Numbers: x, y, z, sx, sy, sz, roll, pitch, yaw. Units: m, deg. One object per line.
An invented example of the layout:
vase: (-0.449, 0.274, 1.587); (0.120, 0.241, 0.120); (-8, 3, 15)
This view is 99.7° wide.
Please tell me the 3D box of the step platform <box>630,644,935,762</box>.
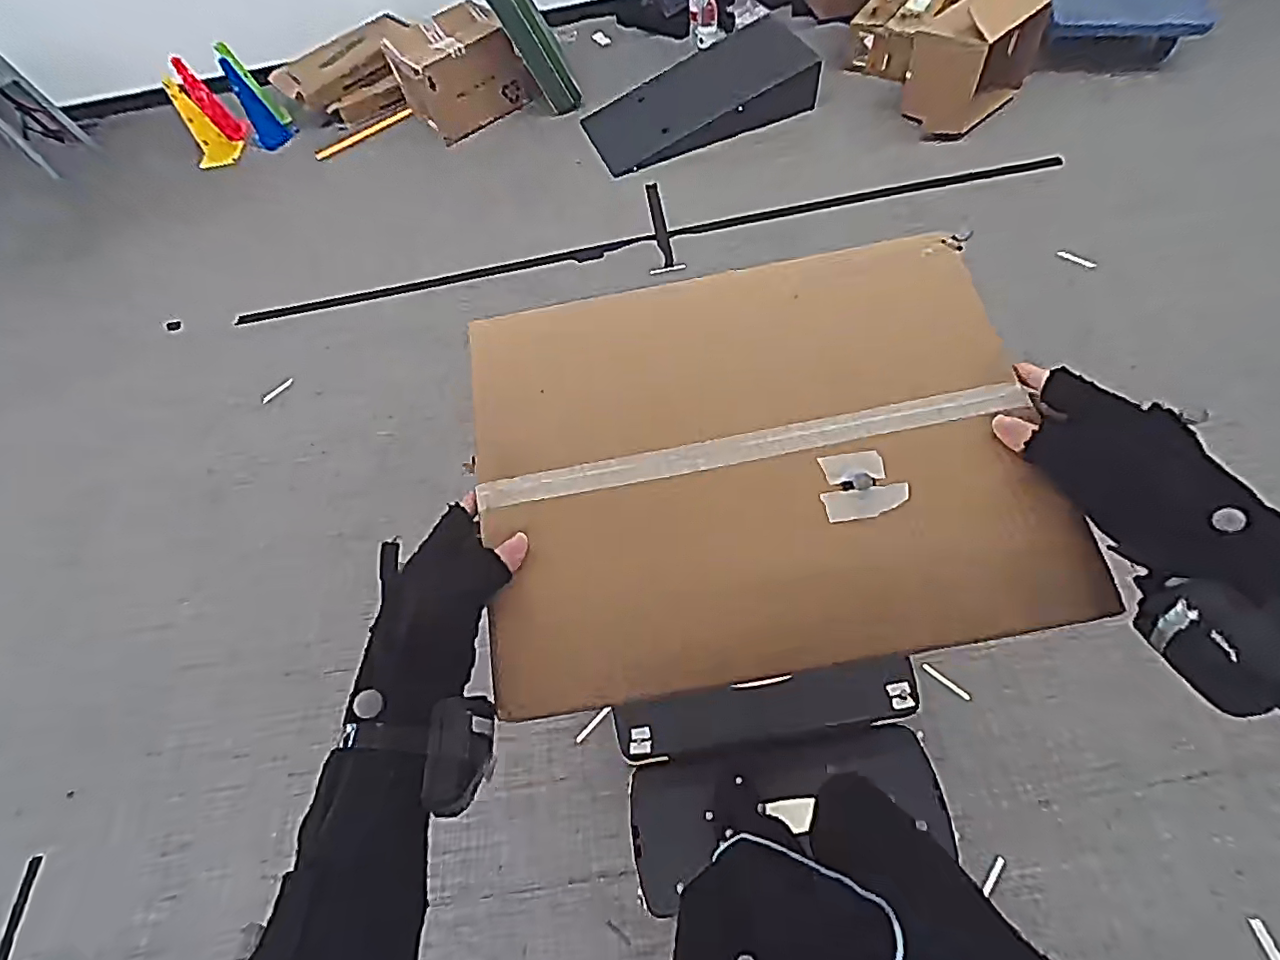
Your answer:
step platform: (0.311, 0.460, 1.285); (0.684, 0.204, 0.286); (-11, 62, 1)

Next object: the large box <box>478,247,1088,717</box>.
large box: (0.091, 0.030, 0.551); (0.408, 0.320, 0.320); (-11, 71, 1)
